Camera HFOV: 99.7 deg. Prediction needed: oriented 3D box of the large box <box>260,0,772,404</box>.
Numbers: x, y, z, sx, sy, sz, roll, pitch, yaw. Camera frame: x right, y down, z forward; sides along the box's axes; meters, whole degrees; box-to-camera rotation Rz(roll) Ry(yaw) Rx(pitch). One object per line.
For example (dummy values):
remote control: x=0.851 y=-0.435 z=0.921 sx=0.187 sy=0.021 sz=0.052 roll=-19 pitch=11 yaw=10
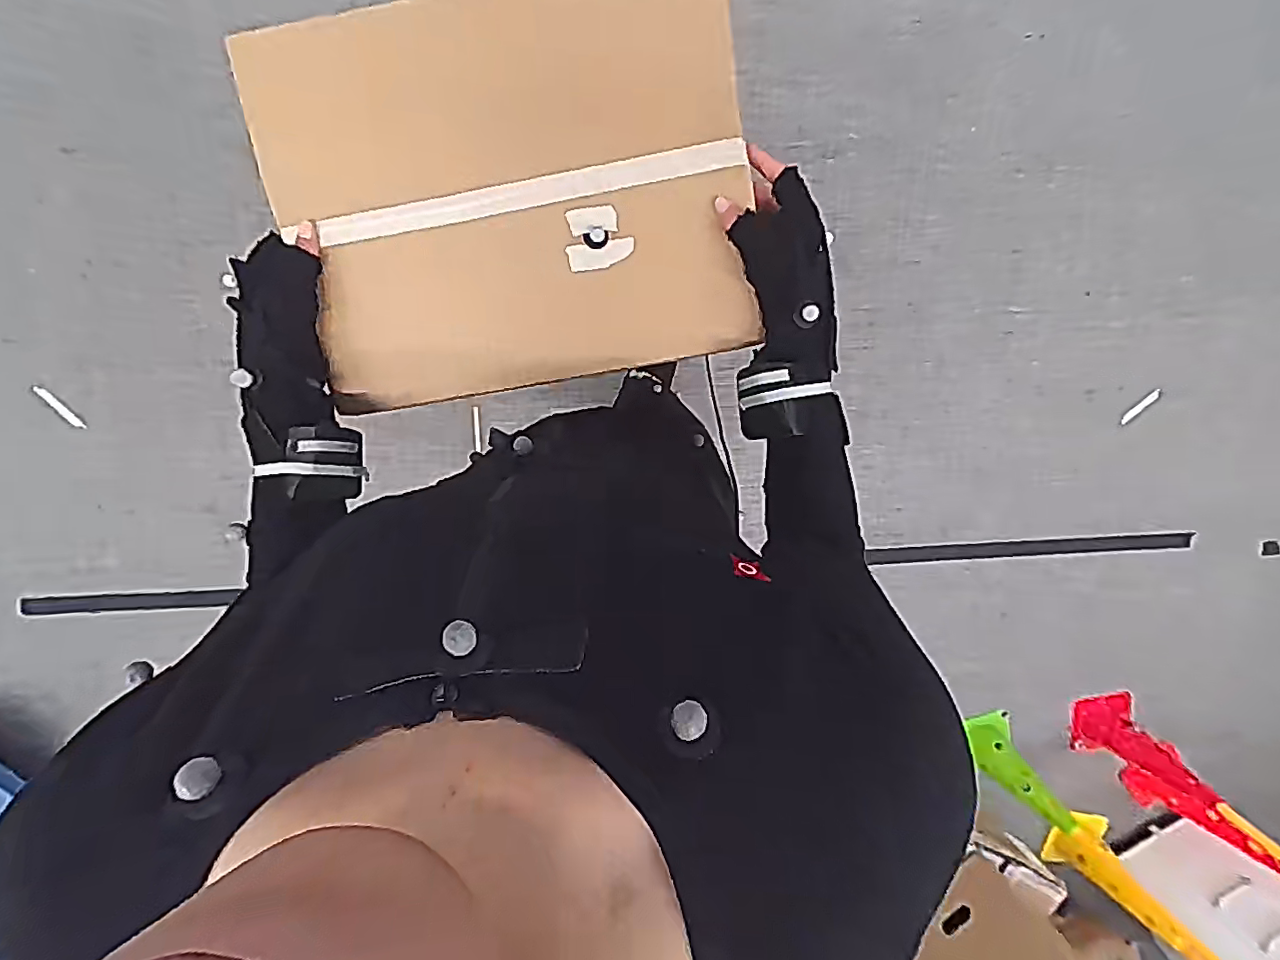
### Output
large box: x=-0.100 y=-0.283 z=0.618 sx=0.408 sy=0.320 sz=0.320 roll=-9 pitch=103 yaw=2
